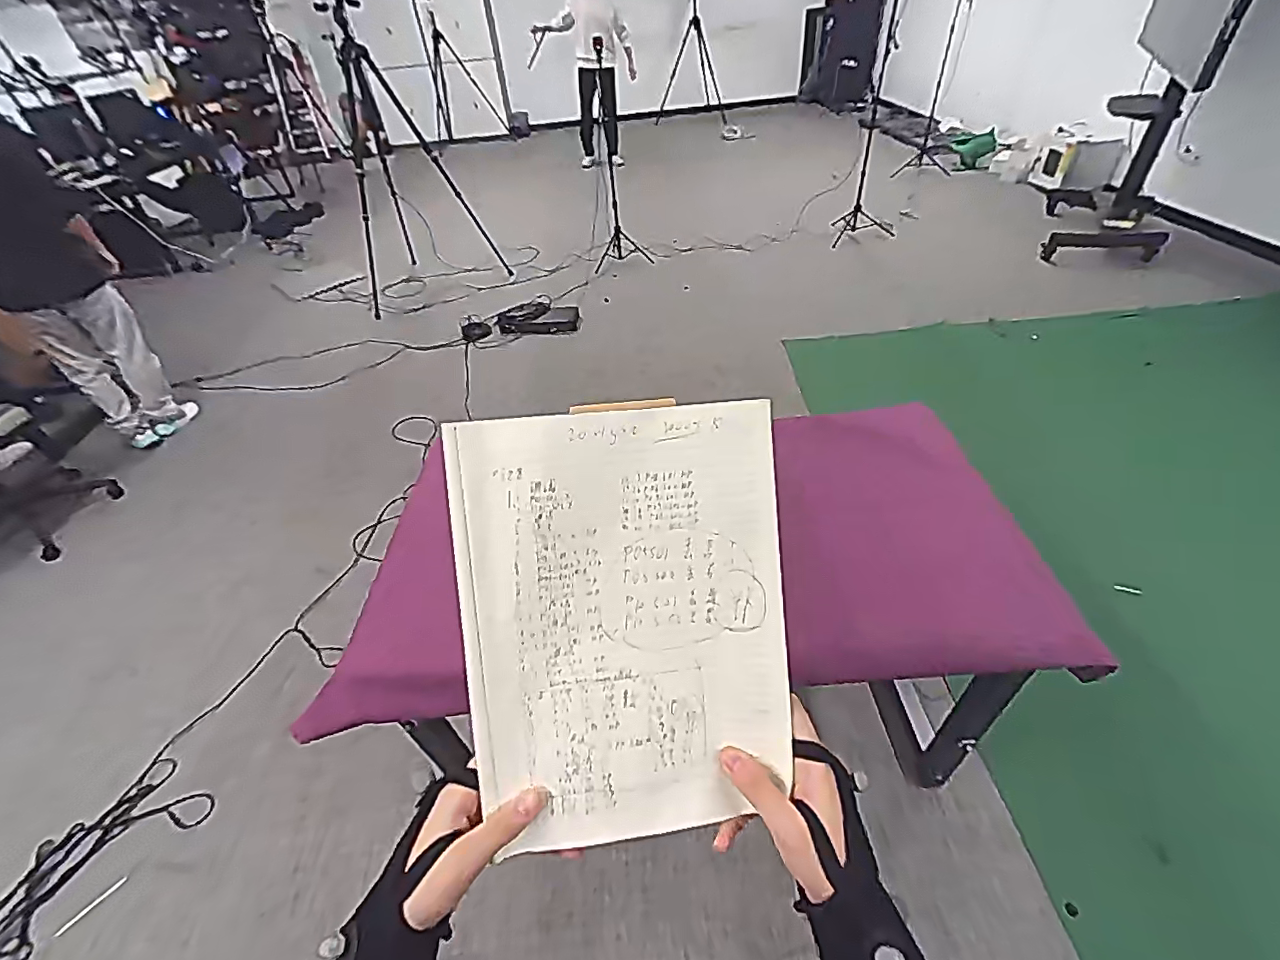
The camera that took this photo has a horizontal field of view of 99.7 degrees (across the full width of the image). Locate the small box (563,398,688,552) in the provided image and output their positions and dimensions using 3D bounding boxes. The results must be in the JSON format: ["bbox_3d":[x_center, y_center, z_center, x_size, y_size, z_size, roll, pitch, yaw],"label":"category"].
[{"bbox_3d":[-0.015,-0.003,0.828,0.168,0.176,0.179,-4,41,3],"label":"small box"}]

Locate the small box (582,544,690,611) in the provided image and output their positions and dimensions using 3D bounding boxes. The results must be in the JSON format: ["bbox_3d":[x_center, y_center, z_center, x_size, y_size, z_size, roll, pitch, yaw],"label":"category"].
[{"bbox_3d":[-0.002,0.116,0.943,0.168,0.176,0.179,-4,43,2],"label":"small box"}]
